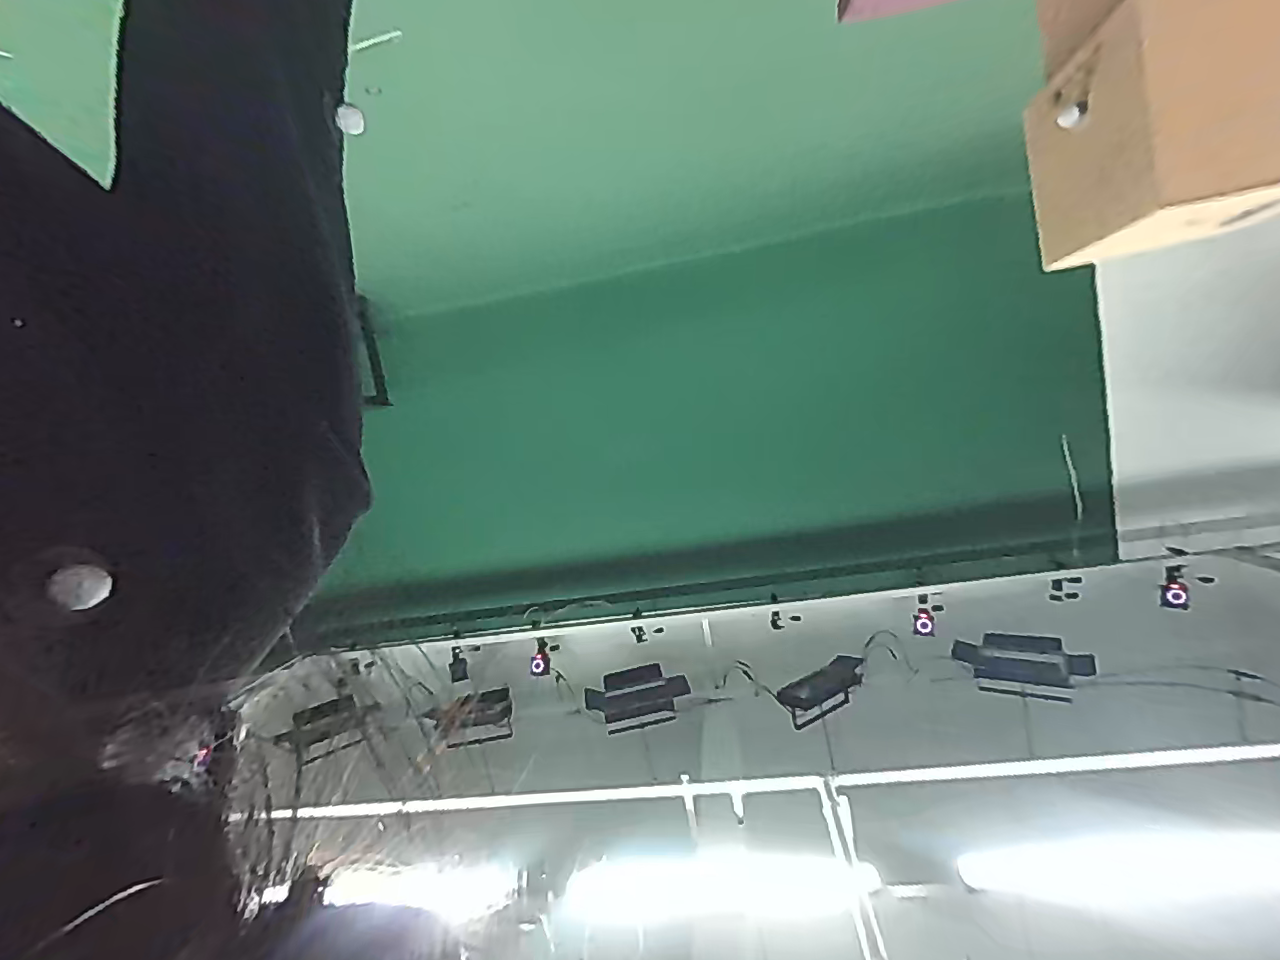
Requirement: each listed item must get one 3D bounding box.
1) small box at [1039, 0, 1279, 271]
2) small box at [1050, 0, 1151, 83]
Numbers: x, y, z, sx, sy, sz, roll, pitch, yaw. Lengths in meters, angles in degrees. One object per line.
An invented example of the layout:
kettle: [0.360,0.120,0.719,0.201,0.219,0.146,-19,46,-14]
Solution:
small box: [0.483,-0.302,0.459,0.179,0.176,0.168,-9,-176,11]
small box: [0.463,-0.463,0.426,0.179,0.176,0.168,-10,-176,11]
